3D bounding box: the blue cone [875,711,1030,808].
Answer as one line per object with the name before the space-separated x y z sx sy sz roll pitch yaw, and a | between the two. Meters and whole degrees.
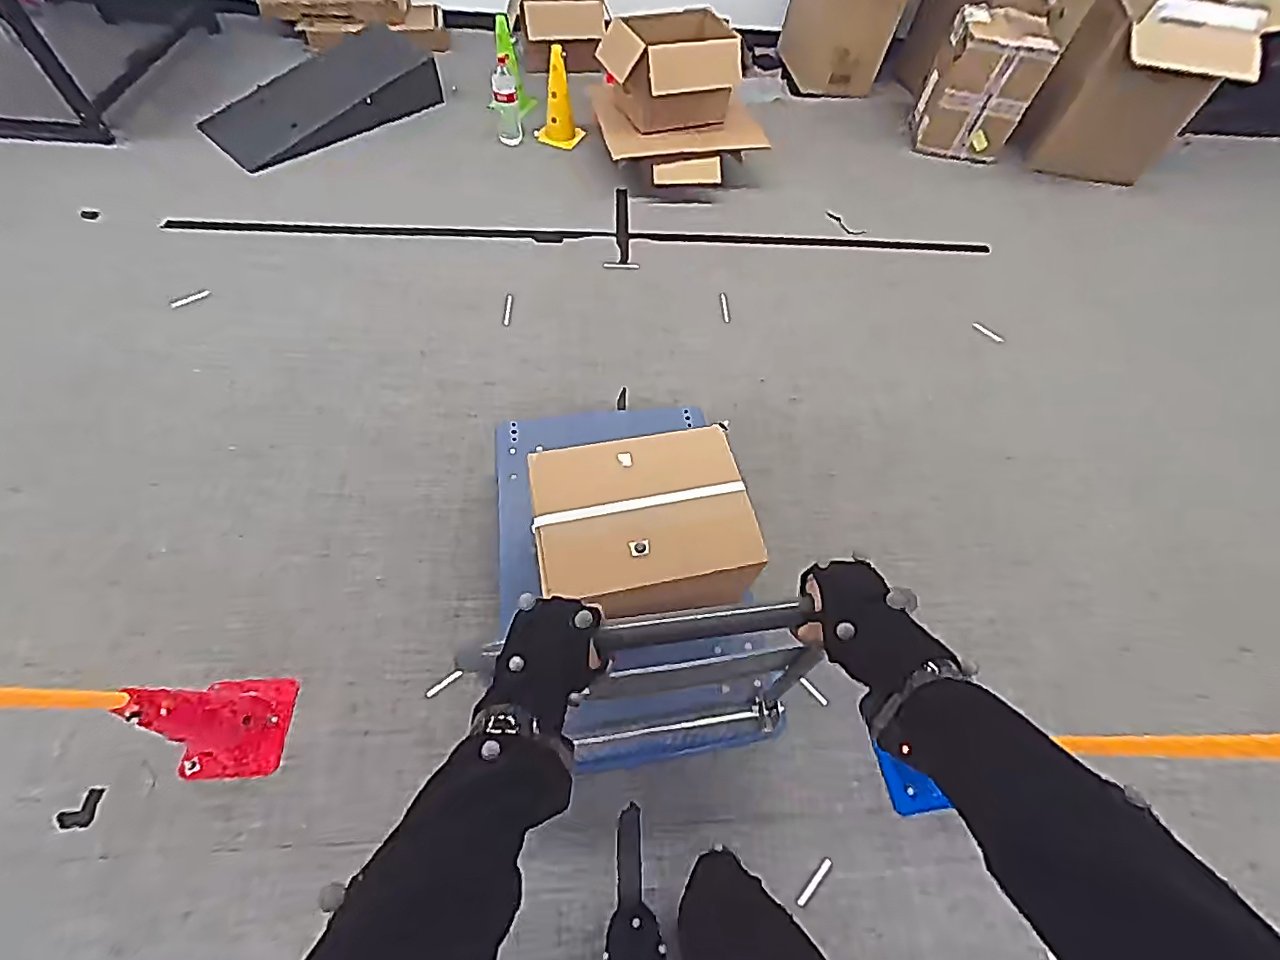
blue cone | 0.672 0.560 1.121 0.193 0.380 0.192 -3 58 -7
